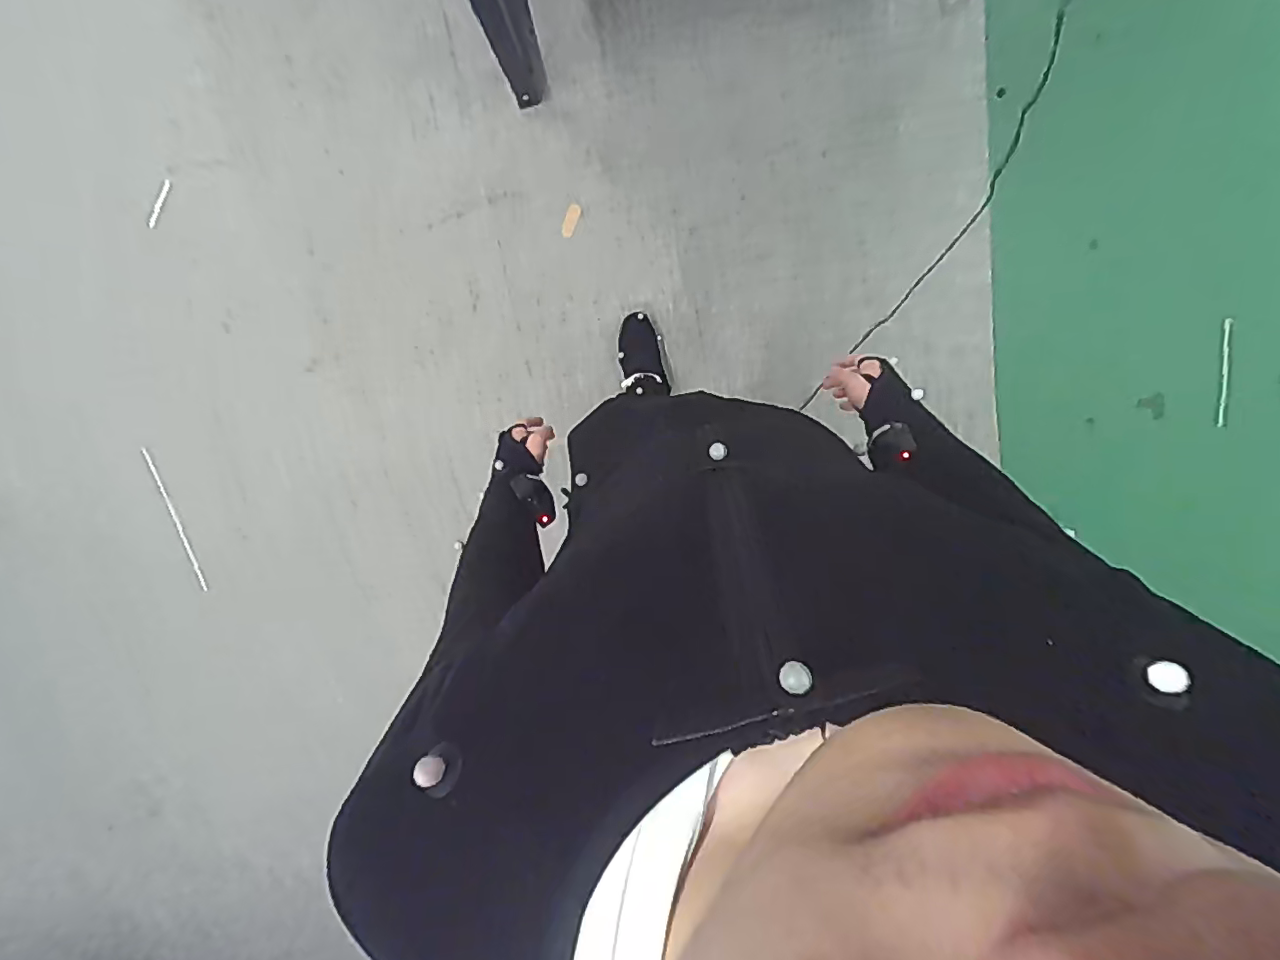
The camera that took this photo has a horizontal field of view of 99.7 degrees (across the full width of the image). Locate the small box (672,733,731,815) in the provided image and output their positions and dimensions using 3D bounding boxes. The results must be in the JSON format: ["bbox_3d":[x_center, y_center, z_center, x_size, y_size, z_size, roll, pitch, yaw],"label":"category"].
[{"bbox_3d":[0.197,0.962,1.778,0.179,0.176,0.168,-5,103,1],"label":"small box"}]
